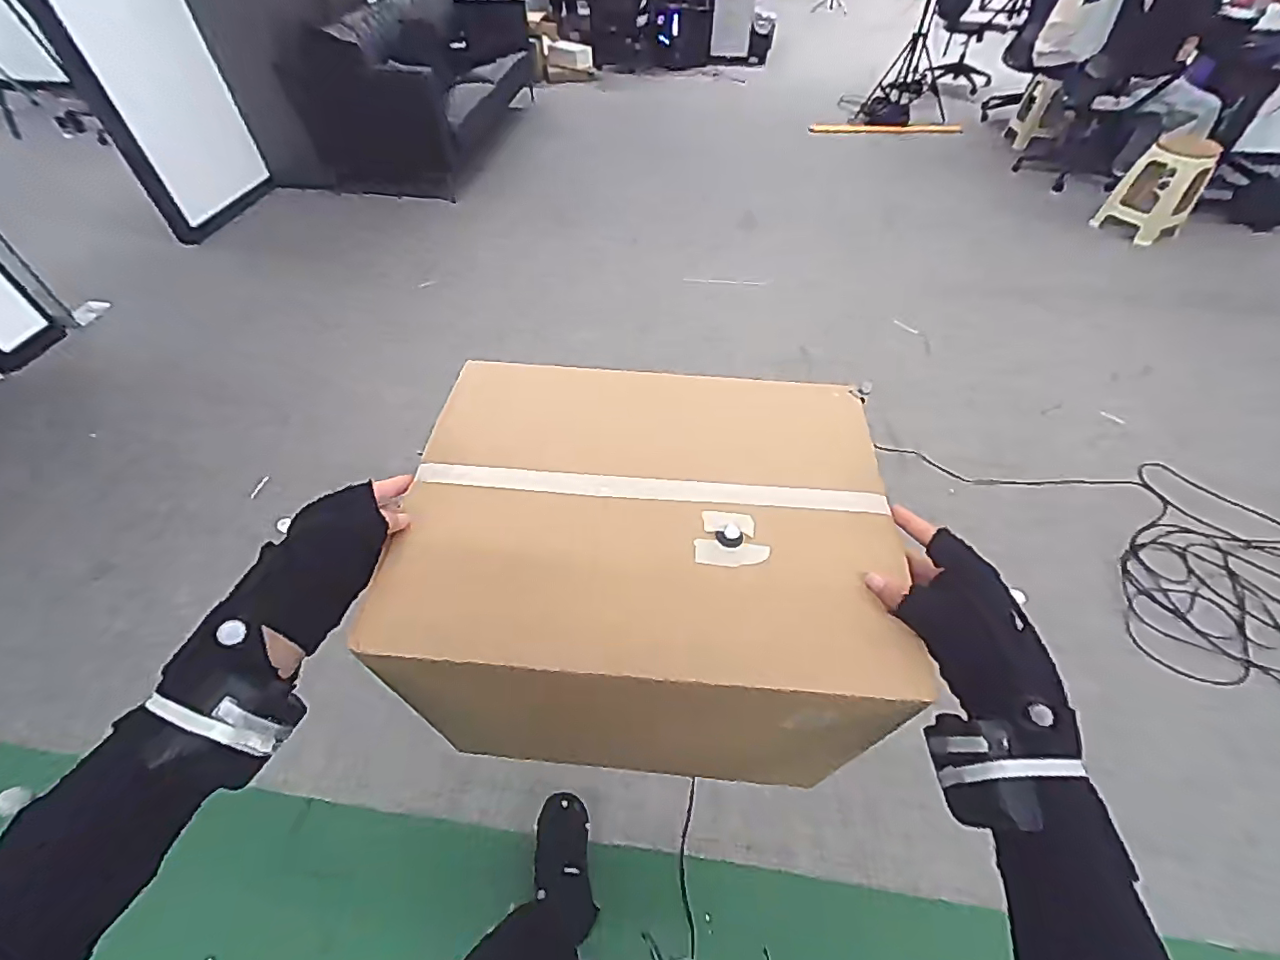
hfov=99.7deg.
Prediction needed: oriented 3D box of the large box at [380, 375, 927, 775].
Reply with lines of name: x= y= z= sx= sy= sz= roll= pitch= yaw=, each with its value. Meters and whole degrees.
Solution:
large box: x=0.011 y=0.111 z=0.593 sx=0.408 sy=0.320 sz=0.320 roll=4 pitch=52 yaw=1
